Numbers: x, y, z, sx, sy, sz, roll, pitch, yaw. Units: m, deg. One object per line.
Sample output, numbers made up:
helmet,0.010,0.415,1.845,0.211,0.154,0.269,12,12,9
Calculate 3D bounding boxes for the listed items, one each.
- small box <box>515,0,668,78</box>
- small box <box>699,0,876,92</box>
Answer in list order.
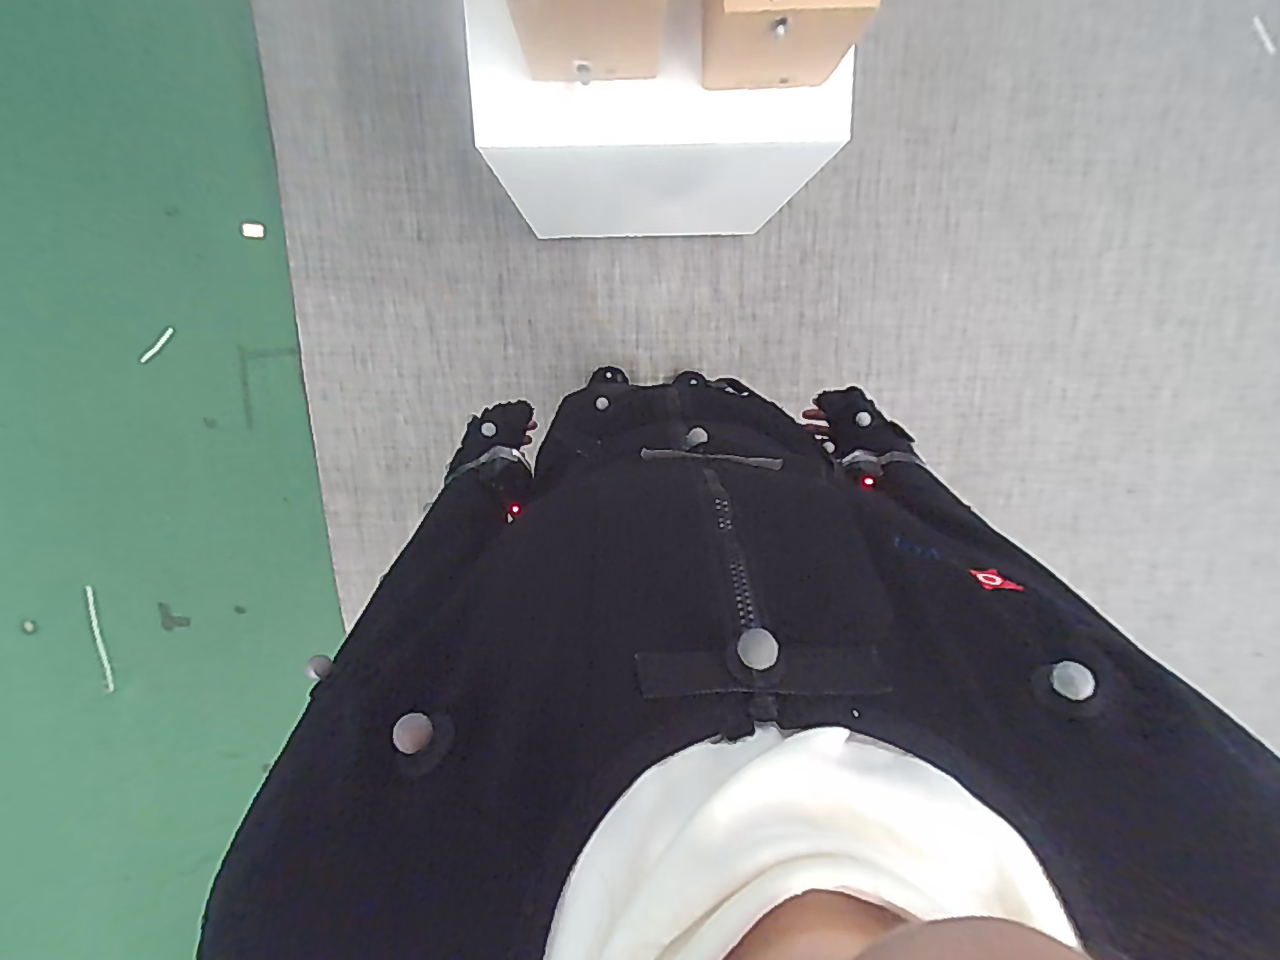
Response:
small box,-0.059,-0.593,0.605,0.168,0.176,0.179,-4,103,0
small box,0.160,-0.591,0.625,0.168,0.176,0.179,-2,101,-1
